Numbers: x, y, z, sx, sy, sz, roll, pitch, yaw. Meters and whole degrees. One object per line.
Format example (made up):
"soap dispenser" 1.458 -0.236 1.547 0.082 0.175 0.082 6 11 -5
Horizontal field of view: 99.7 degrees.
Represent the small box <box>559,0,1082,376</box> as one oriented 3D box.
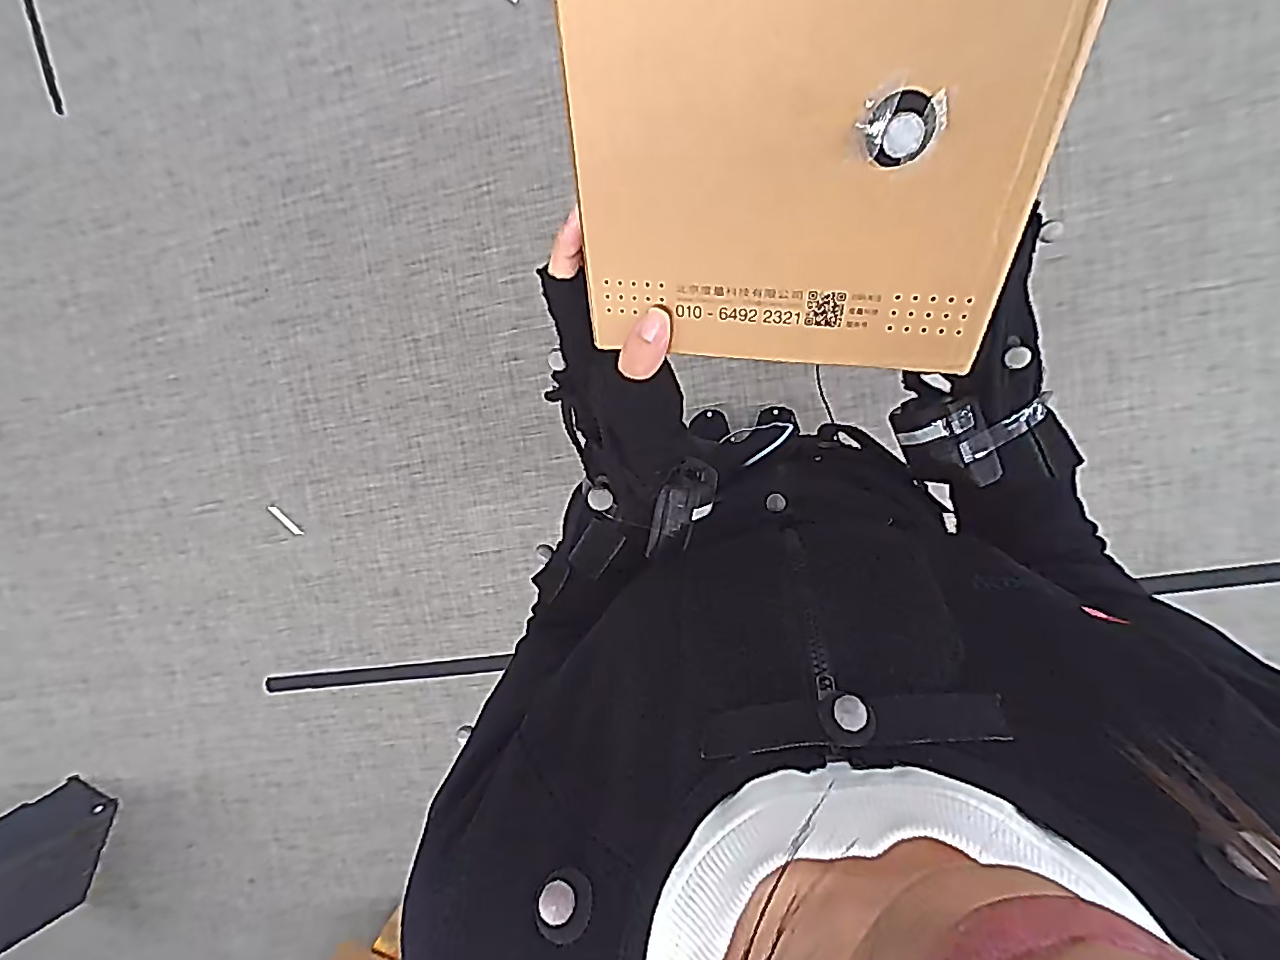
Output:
"small box" 0.078 -0.166 0.260 0.168 0.179 0.176 9 131 14
